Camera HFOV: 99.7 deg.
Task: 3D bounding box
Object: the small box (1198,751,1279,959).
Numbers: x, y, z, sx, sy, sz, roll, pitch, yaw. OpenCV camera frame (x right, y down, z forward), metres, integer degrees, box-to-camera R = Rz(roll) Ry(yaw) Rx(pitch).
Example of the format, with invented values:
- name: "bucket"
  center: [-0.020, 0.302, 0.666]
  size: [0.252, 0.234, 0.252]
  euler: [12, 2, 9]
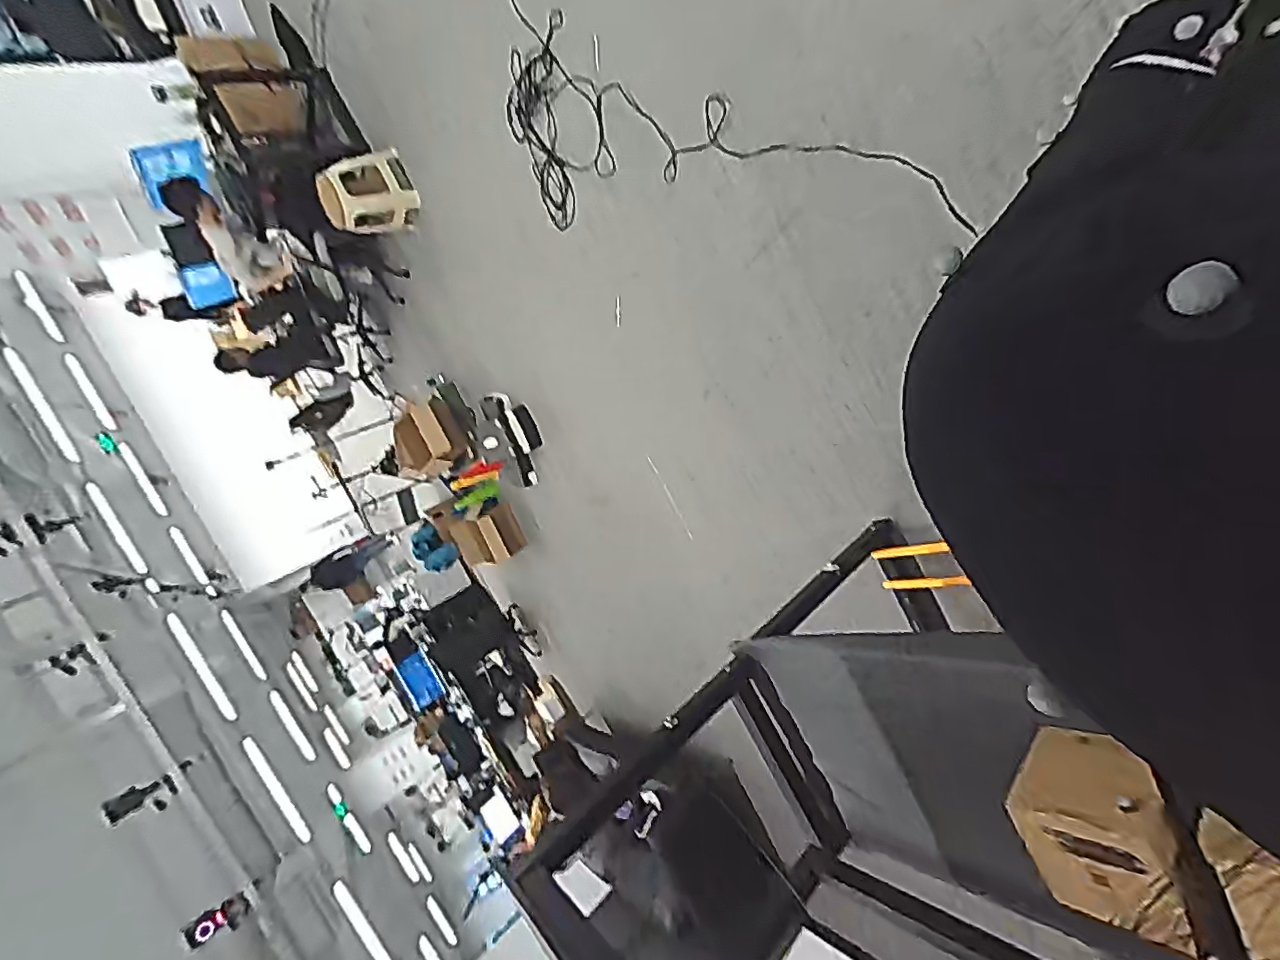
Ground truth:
- name: "small box"
  center: [0.758, 0.434, 0.579]
  size: [0.168, 0.176, 0.179]
  euler: [-25, 94, 58]
